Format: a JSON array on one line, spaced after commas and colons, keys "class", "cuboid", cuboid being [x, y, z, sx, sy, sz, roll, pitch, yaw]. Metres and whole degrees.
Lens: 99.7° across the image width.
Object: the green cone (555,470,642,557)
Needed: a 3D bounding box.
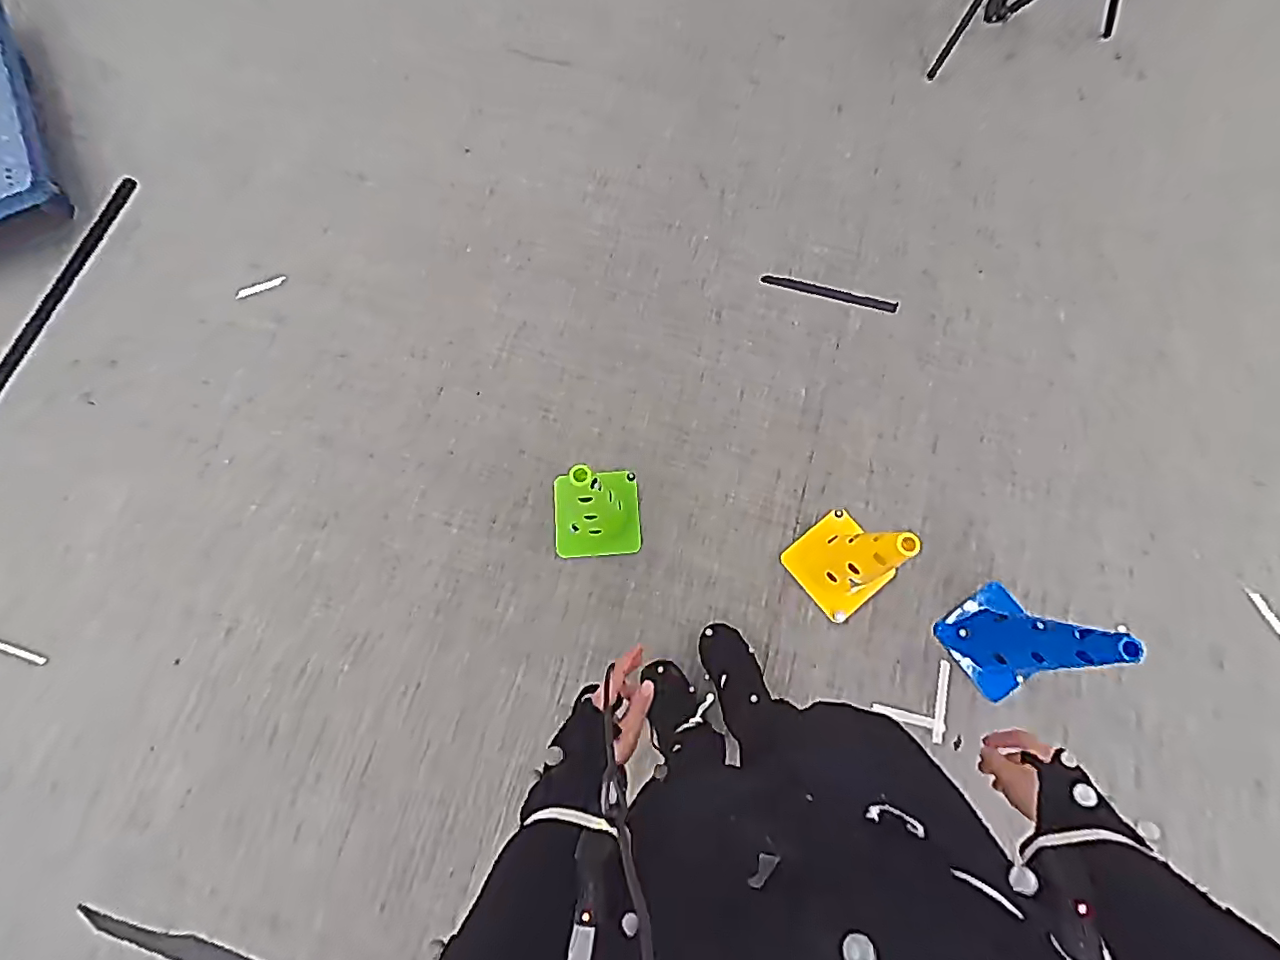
[{"class": "green cone", "cuboid": [-0.103, 0.038, 1.120, 0.200, 0.368, 0.202, -5, 76, 0]}]
